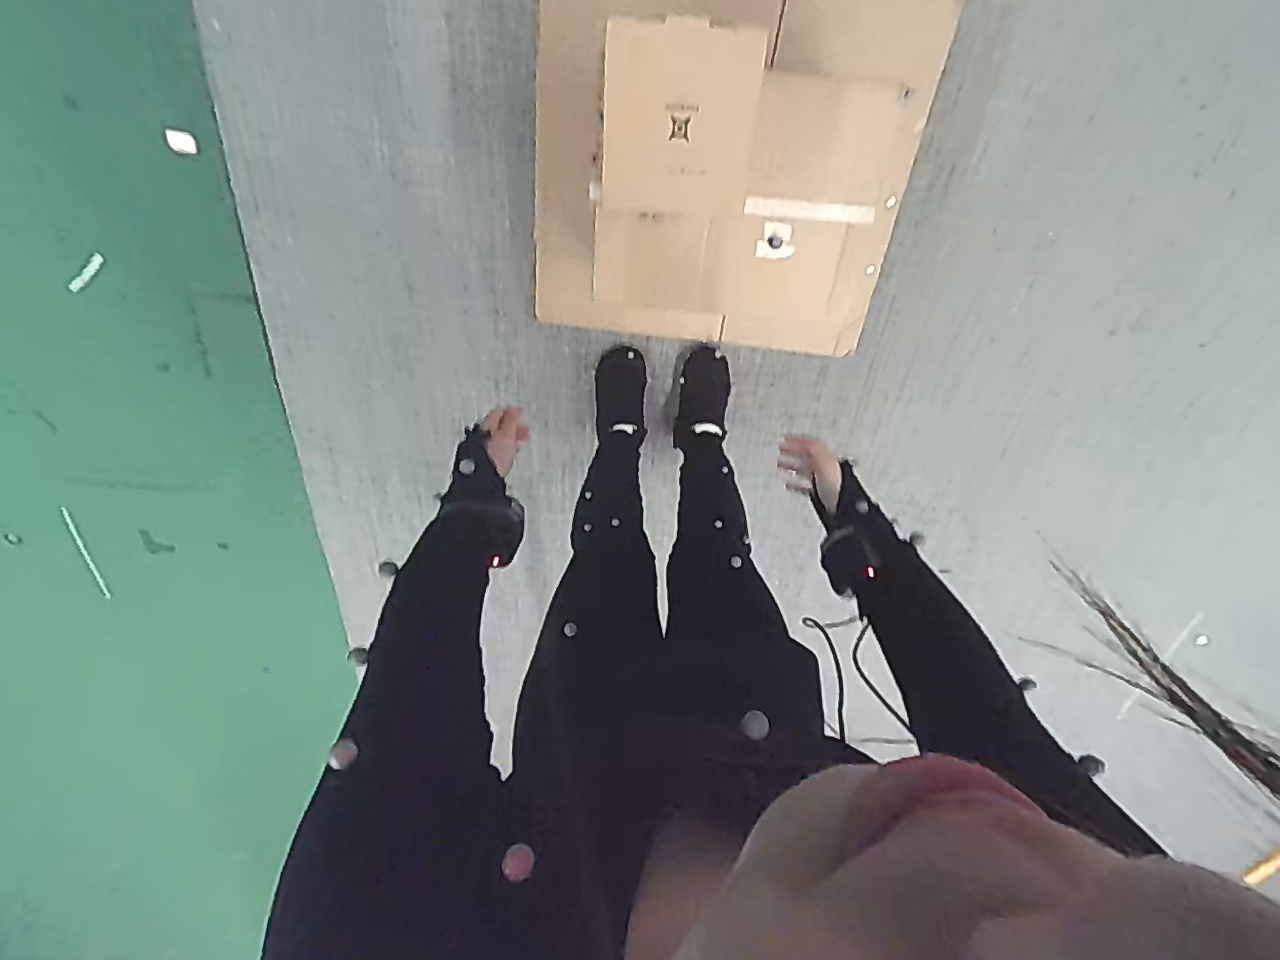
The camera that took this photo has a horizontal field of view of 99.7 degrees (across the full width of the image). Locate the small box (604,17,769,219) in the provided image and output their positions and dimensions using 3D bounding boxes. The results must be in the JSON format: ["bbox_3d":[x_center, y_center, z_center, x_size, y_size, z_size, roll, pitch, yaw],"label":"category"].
[{"bbox_3d":[0.044,-0.419,0.650,0.168,0.176,0.179,3,119,-1],"label":"small box"}]

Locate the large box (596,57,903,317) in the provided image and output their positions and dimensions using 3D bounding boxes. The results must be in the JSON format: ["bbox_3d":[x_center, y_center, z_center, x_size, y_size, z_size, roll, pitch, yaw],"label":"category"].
[{"bbox_3d":[0.135,-0.470,0.901,0.408,0.320,0.320,3,120,-3],"label":"large box"}]
